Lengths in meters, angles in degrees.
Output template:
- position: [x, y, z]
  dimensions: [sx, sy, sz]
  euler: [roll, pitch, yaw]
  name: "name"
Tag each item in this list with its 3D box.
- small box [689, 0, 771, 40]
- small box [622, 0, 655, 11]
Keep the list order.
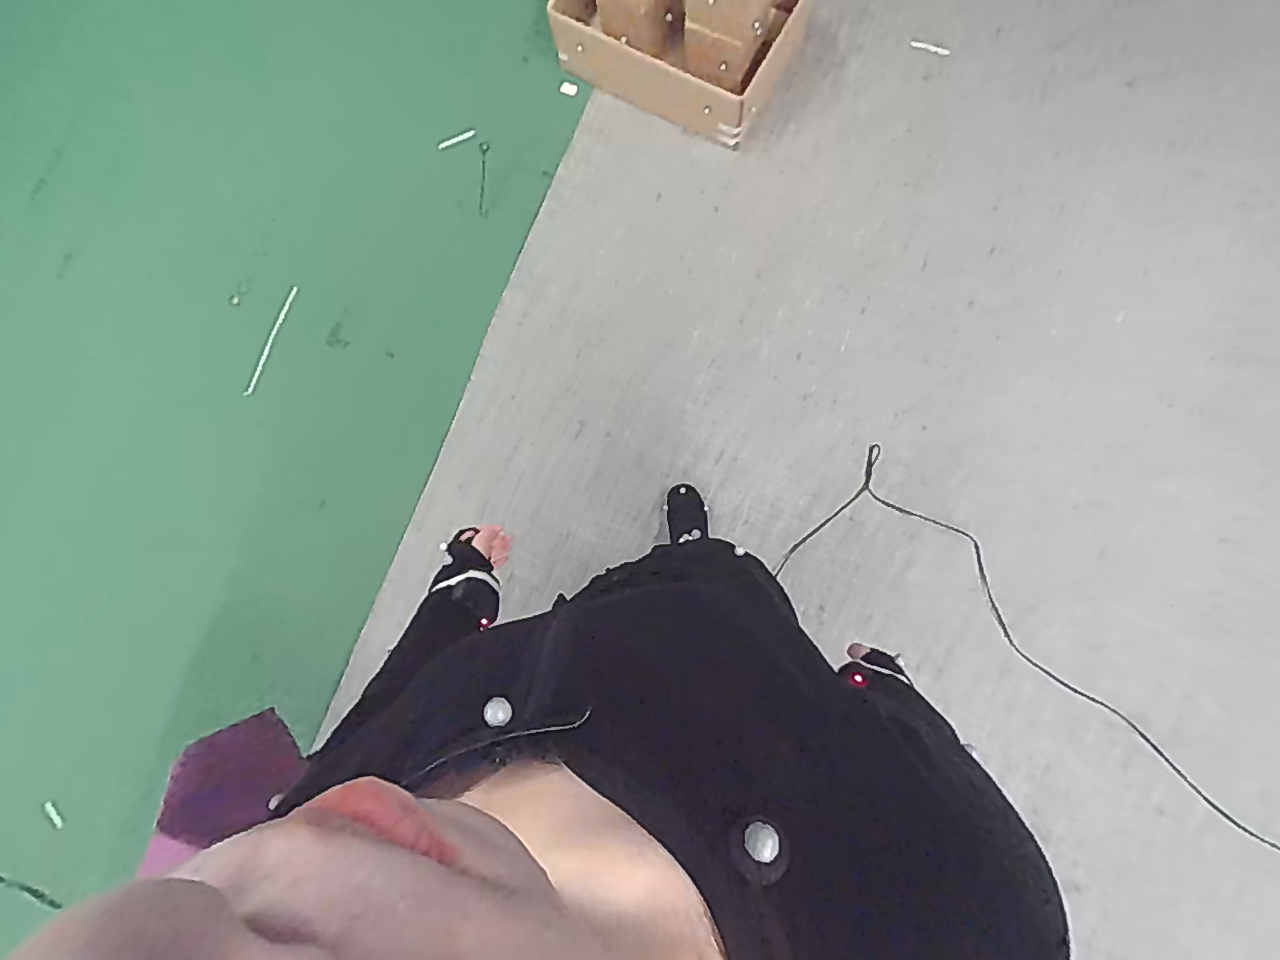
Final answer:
- position: [0.227, -1.209, 1.288]
  dimensions: [0.179, 0.176, 0.168]
  euler: [29, 90, 9]
  name: "small box"
- position: [-0.015, -1.324, 1.328]
  dimensions: [0.179, 0.176, 0.168]
  euler: [41, 91, 5]
  name: "small box"
